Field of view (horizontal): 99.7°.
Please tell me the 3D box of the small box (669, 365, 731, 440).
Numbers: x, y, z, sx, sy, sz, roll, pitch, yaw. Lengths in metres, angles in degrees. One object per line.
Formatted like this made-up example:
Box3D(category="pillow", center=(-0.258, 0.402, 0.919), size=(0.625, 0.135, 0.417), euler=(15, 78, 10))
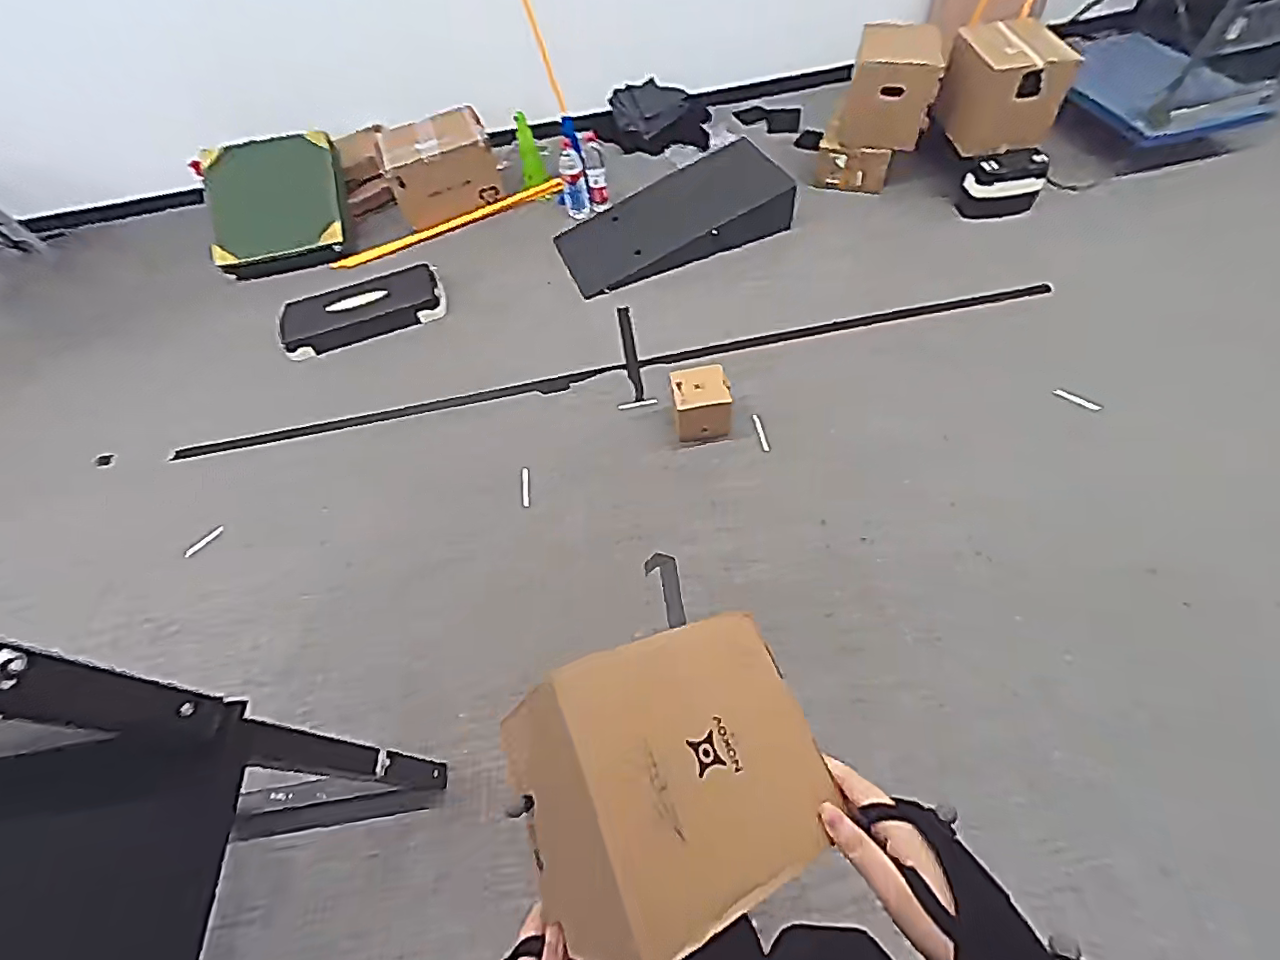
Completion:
Box3D(category="small box", center=(0.192, -0.253, 1.782), size=(0.179, 0.176, 0.168), euler=(-9, 57, 0))
